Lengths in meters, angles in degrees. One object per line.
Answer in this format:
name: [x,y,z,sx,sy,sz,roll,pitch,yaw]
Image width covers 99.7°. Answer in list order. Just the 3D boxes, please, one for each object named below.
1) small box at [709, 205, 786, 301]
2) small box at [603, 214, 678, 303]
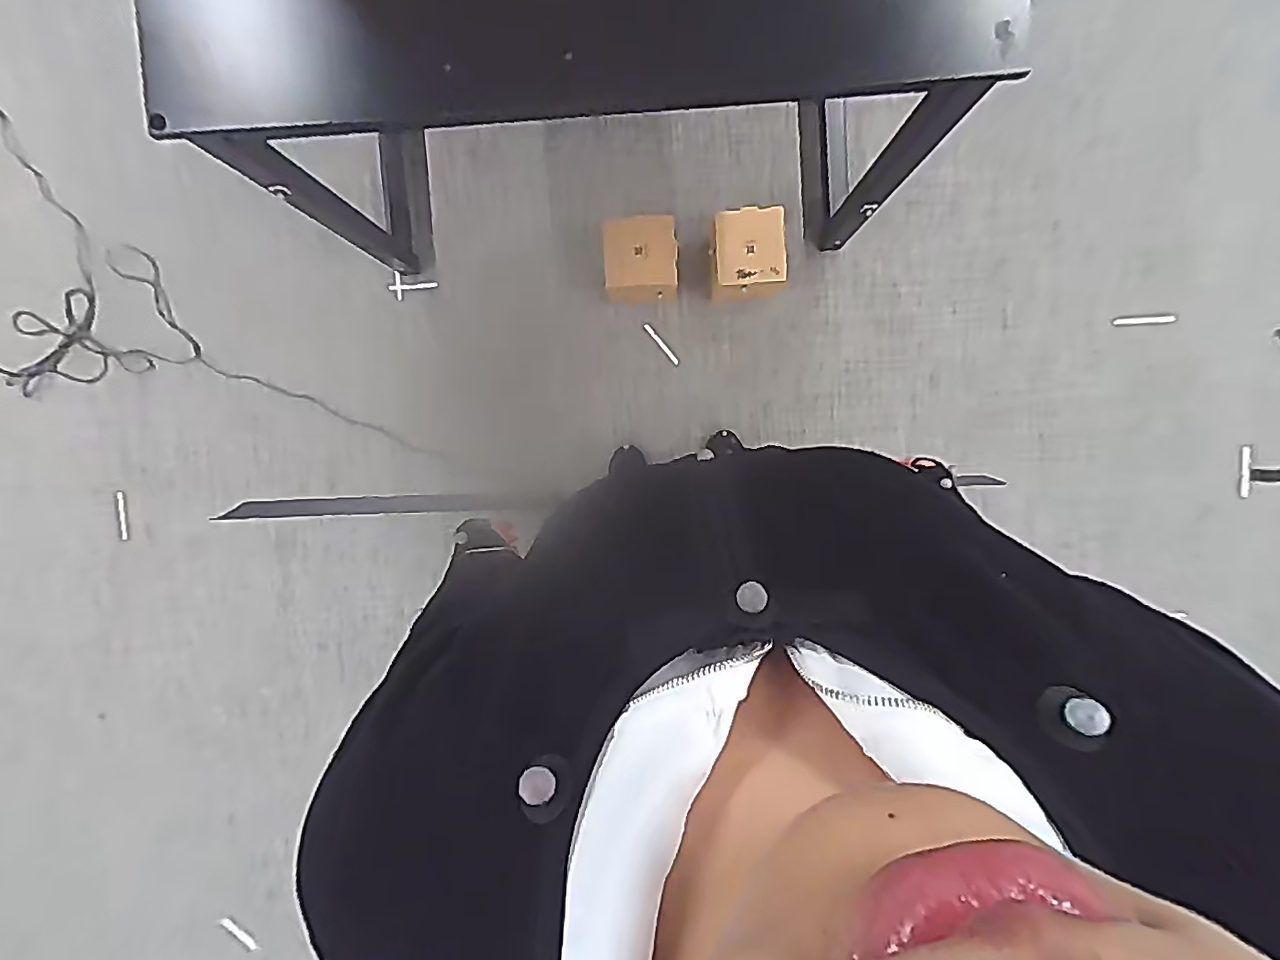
small box: [0.266,-0.567,1.368,0.168,0.176,0.179,-4,94,3]
small box: [0.004,-0.559,1.381,0.179,0.176,0.168,-3,94,3]
